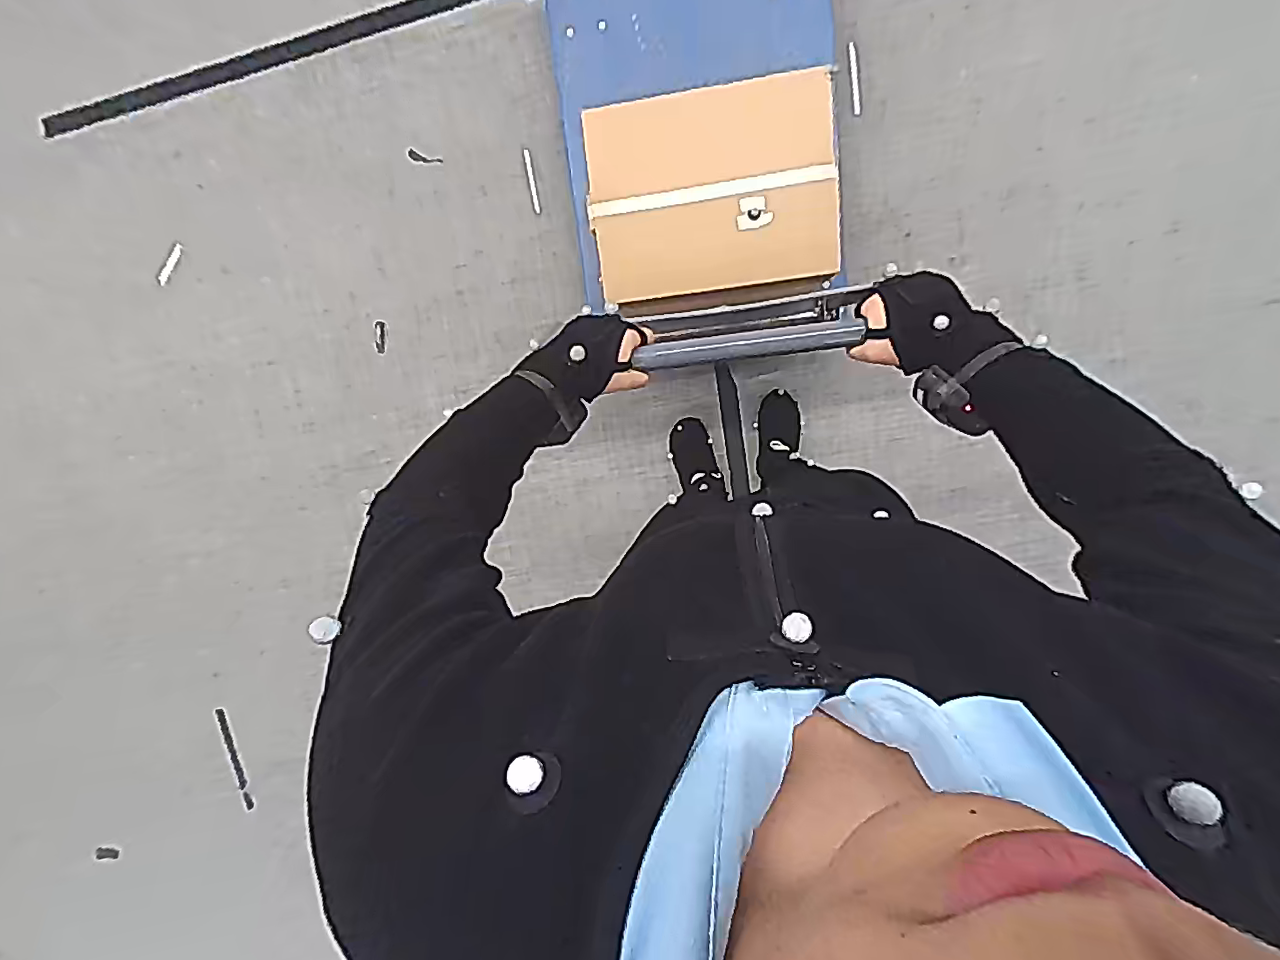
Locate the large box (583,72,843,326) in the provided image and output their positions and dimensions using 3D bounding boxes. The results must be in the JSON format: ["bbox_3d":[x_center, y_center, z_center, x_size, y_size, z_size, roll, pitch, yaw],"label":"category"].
[{"bbox_3d":[0.133,-0.491,1.032,0.408,0.320,0.320,-6,102,7],"label":"large box"}]
